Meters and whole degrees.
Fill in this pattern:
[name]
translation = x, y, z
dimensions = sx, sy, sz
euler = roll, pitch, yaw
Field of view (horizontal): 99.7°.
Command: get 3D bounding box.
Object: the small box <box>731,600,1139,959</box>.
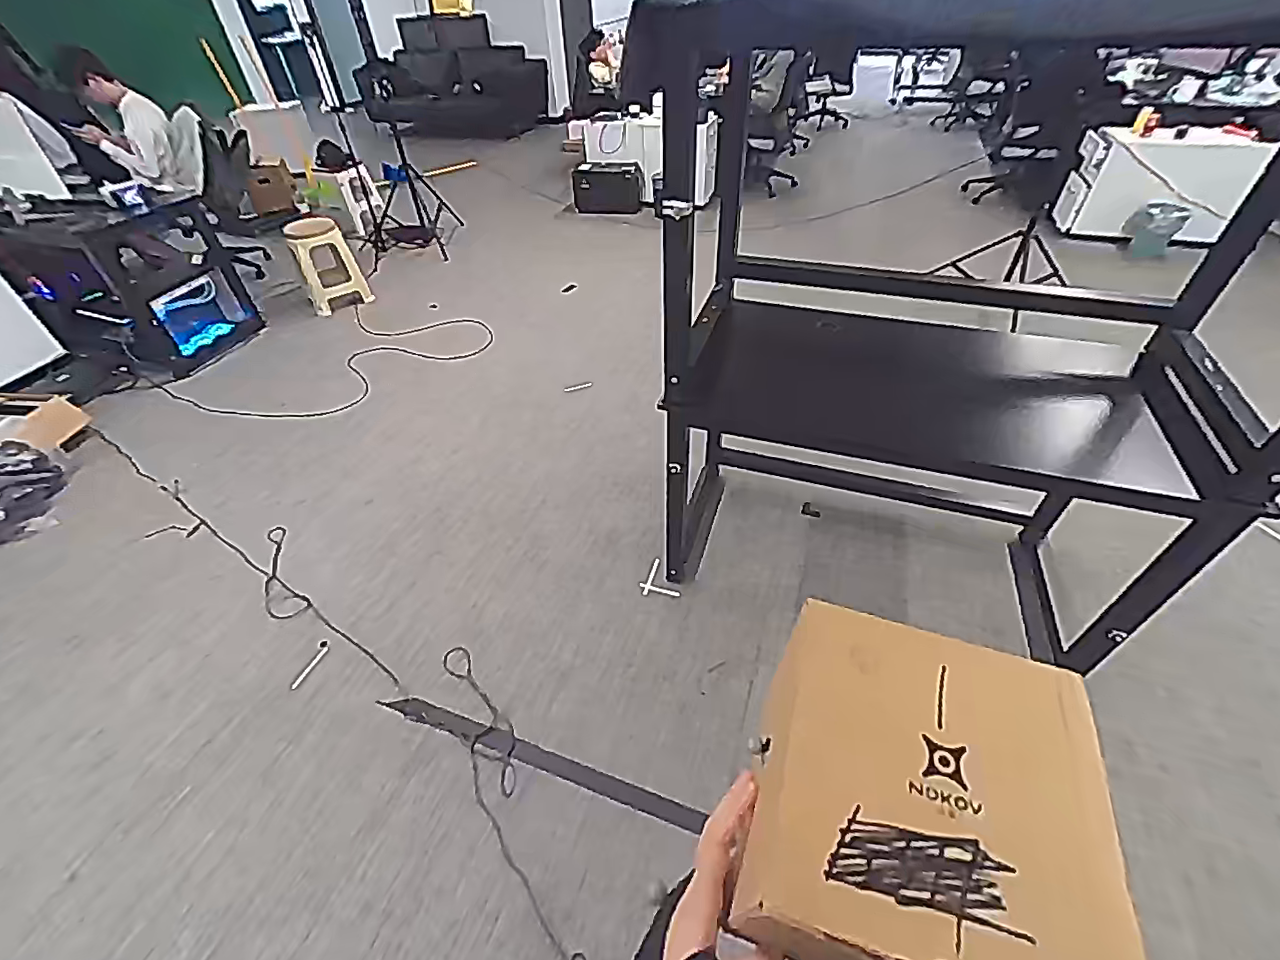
[small box]
translation = 0.160, 0.213, 0.347
dimensions = 0.168, 0.176, 0.179
euler = 14, 49, 13
